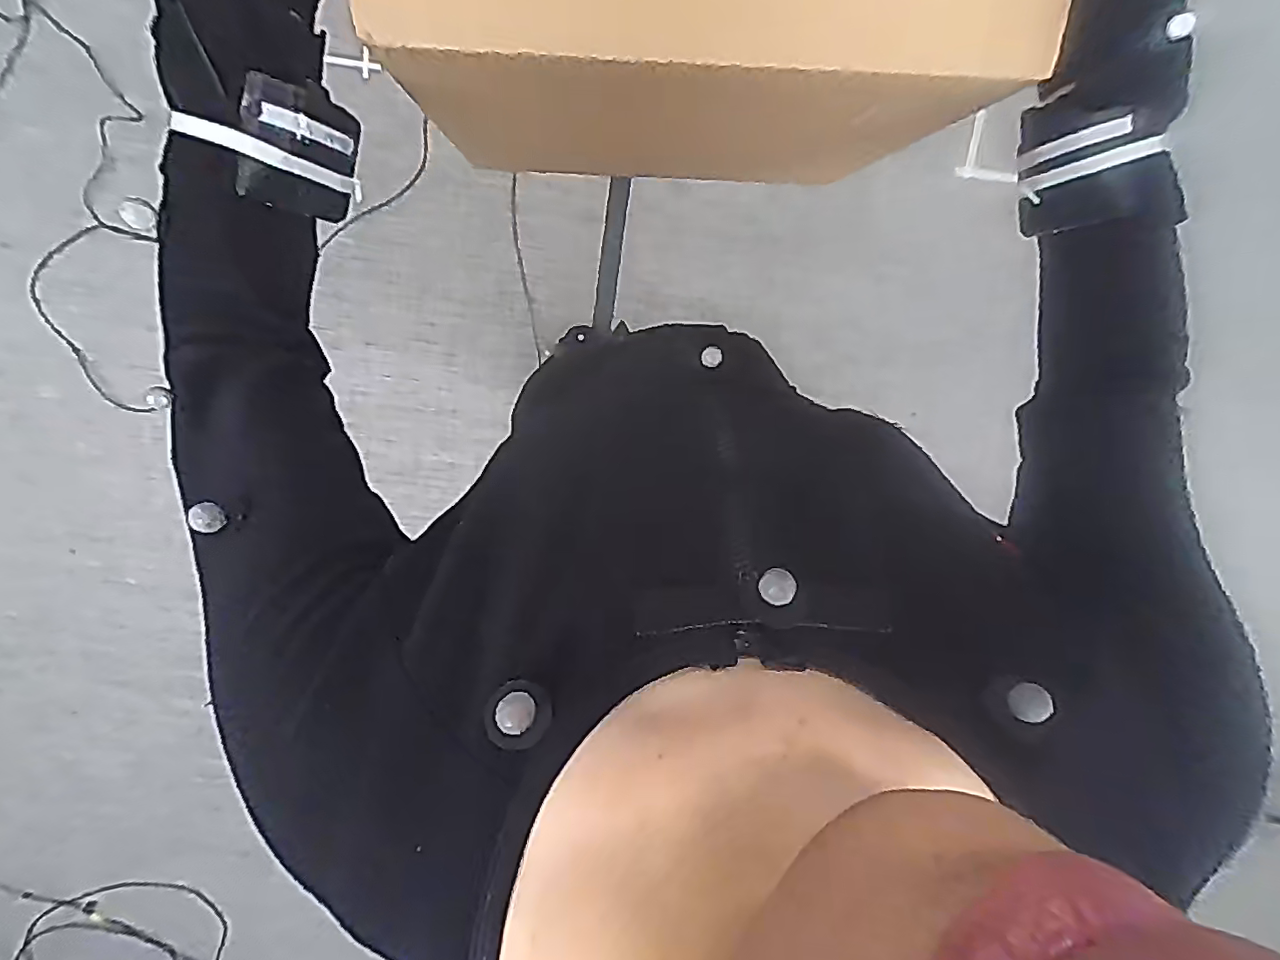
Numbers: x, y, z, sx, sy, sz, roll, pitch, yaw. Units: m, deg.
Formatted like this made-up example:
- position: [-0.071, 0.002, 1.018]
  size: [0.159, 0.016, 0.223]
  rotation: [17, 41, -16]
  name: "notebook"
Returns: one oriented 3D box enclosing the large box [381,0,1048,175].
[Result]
- position: [0.035, -0.441, 0.416]
  size: [0.408, 0.320, 0.320]
  rotation: [-2, 109, -6]
  name: "large box"
